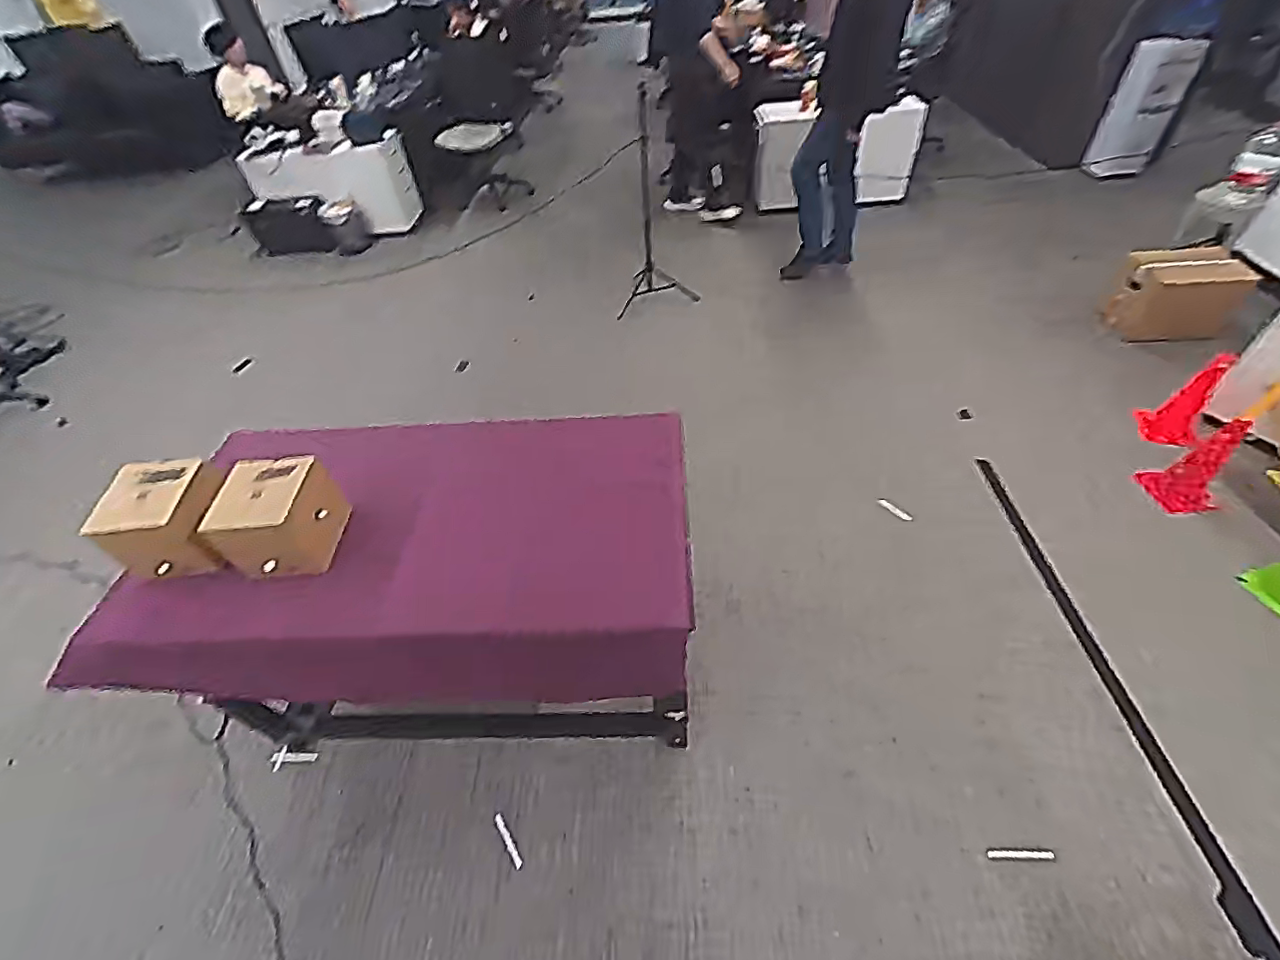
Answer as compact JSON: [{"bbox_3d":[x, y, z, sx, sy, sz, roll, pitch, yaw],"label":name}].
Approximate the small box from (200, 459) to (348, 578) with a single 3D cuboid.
[{"bbox_3d":[-0.733,0.080,1.112,0.168,0.176,0.179,-5,48,1],"label":"small box"}]
